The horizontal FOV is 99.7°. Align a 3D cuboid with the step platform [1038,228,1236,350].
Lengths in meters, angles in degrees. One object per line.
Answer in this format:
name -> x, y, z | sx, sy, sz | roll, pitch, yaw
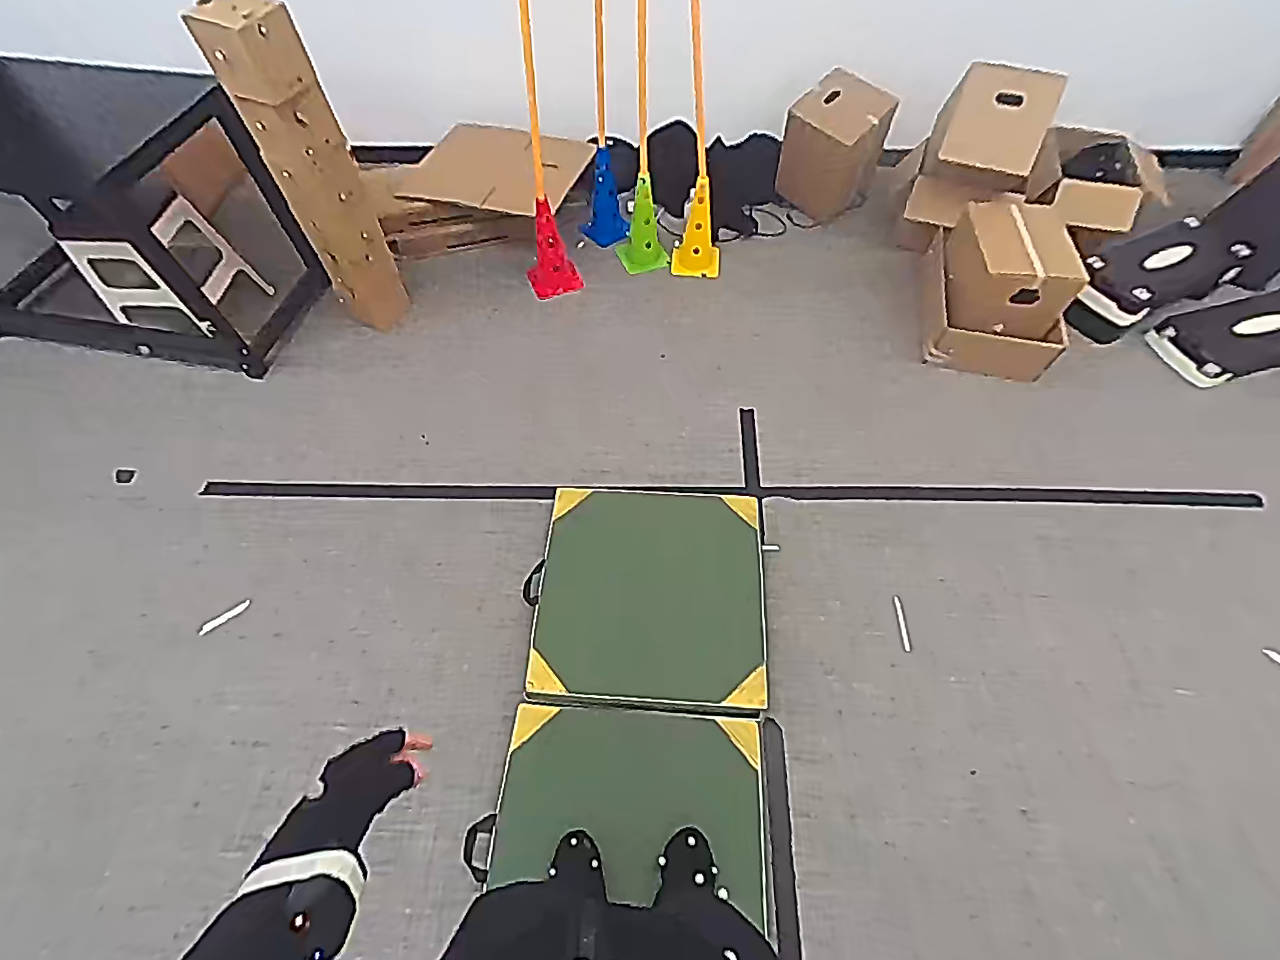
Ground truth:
step platform -> 1.952, -0.760, 2.126 | 0.684, 0.204, 0.286 | -23, 61, -13
